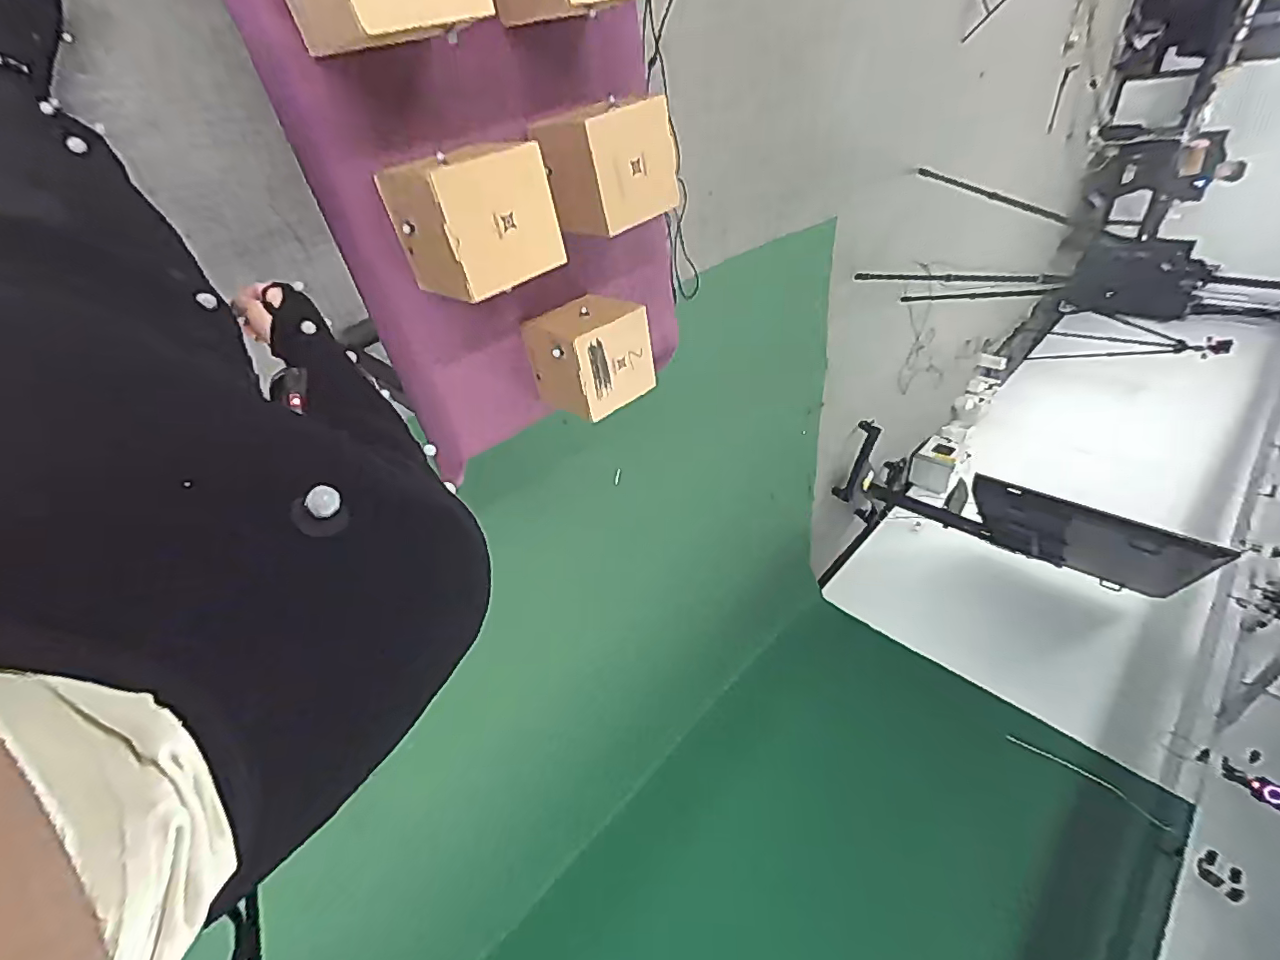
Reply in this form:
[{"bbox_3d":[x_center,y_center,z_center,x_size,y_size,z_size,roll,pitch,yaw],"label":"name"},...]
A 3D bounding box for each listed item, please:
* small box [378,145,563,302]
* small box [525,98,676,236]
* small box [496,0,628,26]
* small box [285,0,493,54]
[{"bbox_3d":[-0.247,-0.387,0.803,0.179,0.176,0.168,-38,135,-29],"label":"small box"},{"bbox_3d":[-0.064,-0.534,0.924,0.179,0.176,0.168,-37,134,-27],"label":"small box"},{"bbox_3d":[-0.106,-0.755,0.748,0.179,0.176,0.168,-38,135,-29],"label":"small box"},{"bbox_3d":[-0.305,-0.605,0.610,0.179,0.176,0.168,-38,135,-29],"label":"small box"}]
